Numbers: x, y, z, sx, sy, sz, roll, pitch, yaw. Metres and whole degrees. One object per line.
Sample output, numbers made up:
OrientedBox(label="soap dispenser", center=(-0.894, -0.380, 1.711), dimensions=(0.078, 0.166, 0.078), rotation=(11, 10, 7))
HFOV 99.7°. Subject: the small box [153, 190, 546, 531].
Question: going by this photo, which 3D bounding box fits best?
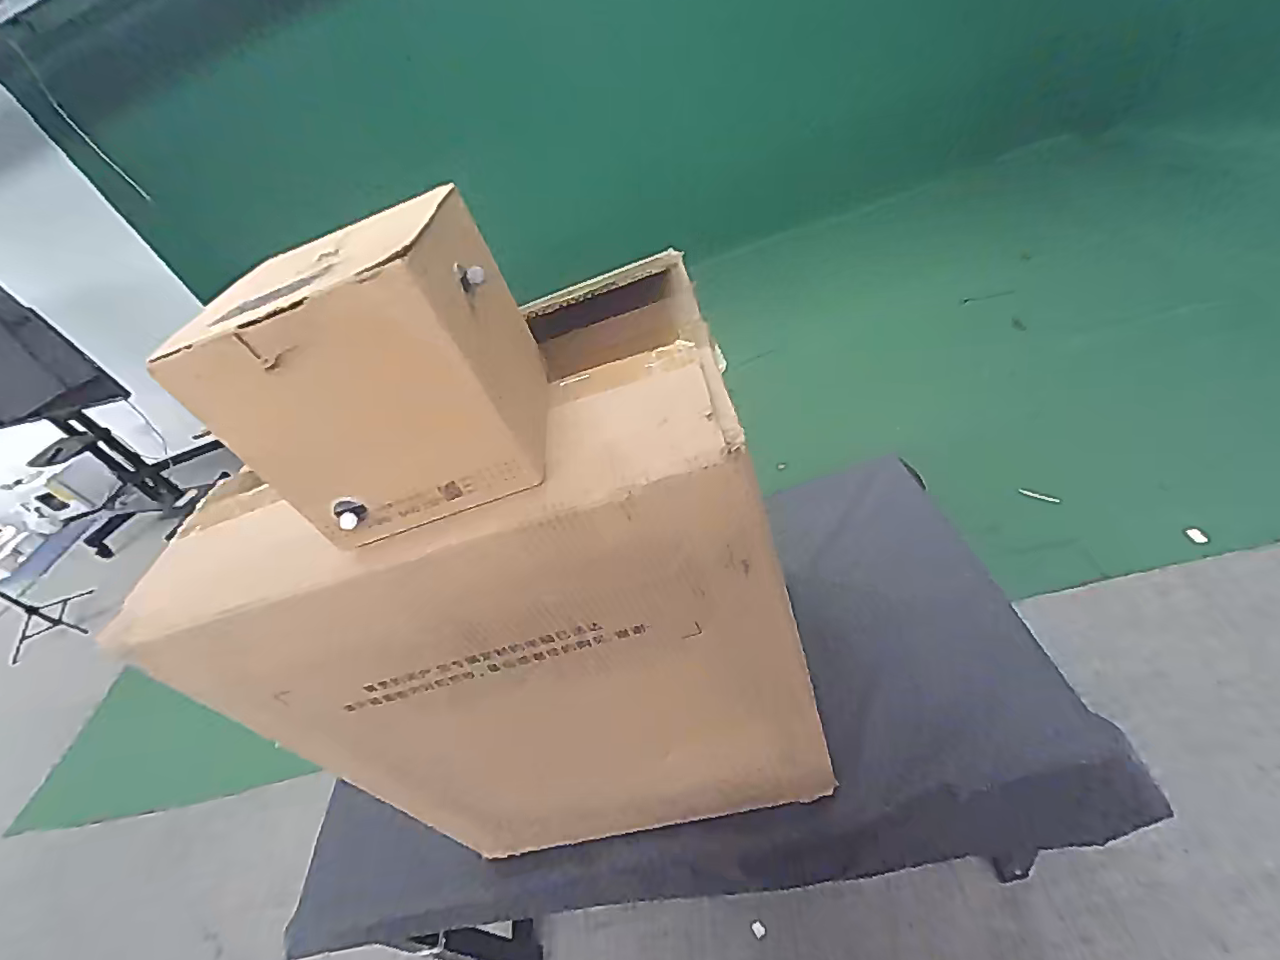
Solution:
OrientedBox(label="small box", center=(-0.181, -0.082, 0.406), dimensions=(0.168, 0.176, 0.179), rotation=(-18, 39, 8))
